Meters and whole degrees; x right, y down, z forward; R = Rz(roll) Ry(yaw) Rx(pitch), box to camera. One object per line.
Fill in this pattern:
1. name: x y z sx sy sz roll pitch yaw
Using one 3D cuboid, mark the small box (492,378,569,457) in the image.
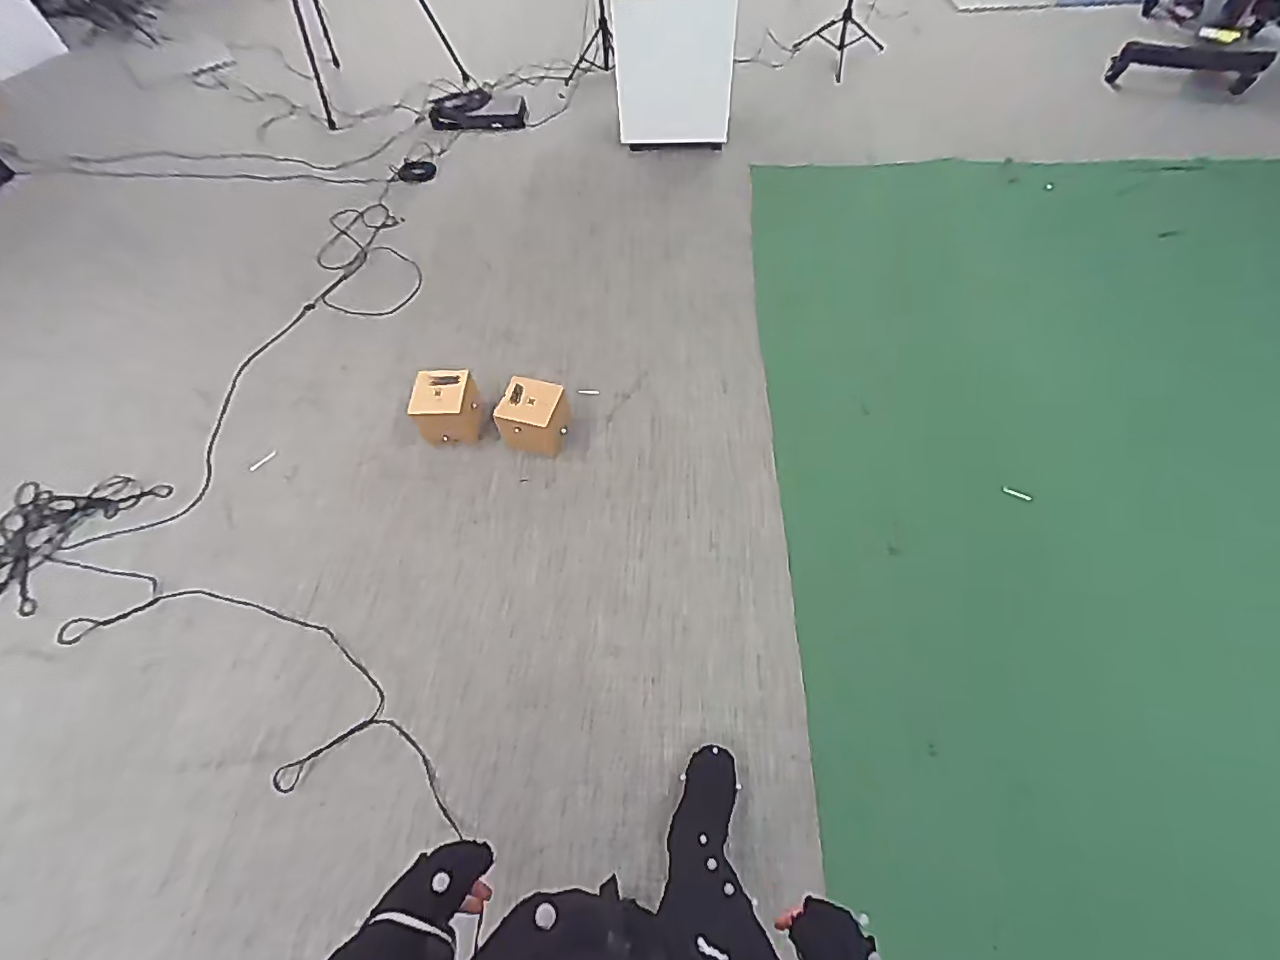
1. small box: -0.340 -0.194 1.720 0.179 0.176 0.168 13 61 9
